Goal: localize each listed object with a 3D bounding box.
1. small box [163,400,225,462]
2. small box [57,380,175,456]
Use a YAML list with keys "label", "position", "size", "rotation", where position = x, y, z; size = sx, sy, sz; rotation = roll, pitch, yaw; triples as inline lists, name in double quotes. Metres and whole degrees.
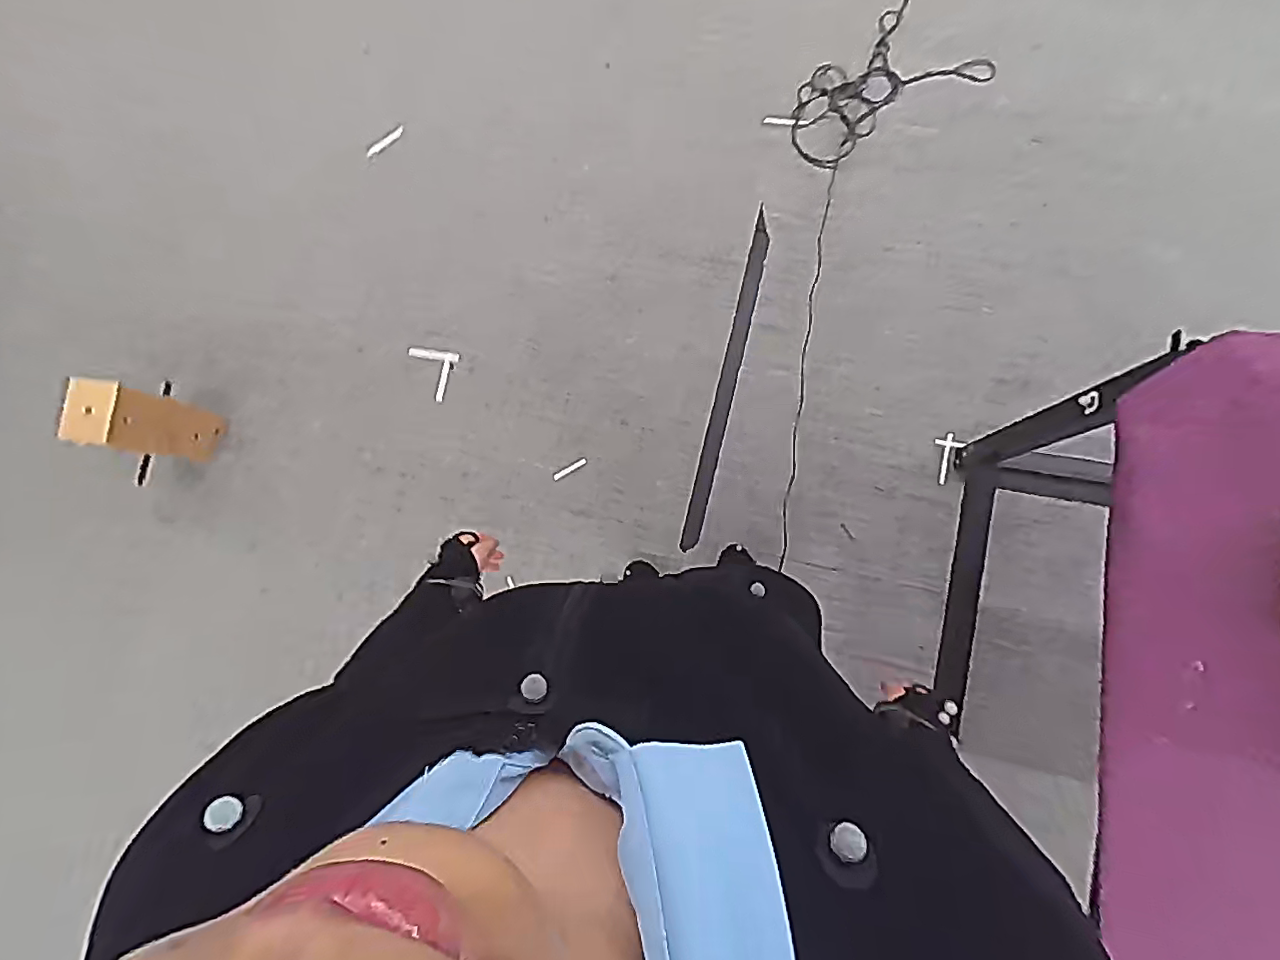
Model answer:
- label: "small box"
  position: [-1.475, -0.161, 1.715]
  size: [0.179, 0.176, 0.168]
  rotation: [15, 85, 11]
- label: "small box"
  position: [-1.493, -0.174, 1.553]
  size: [0.168, 0.176, 0.179]
  rotation: [6, 84, 9]
